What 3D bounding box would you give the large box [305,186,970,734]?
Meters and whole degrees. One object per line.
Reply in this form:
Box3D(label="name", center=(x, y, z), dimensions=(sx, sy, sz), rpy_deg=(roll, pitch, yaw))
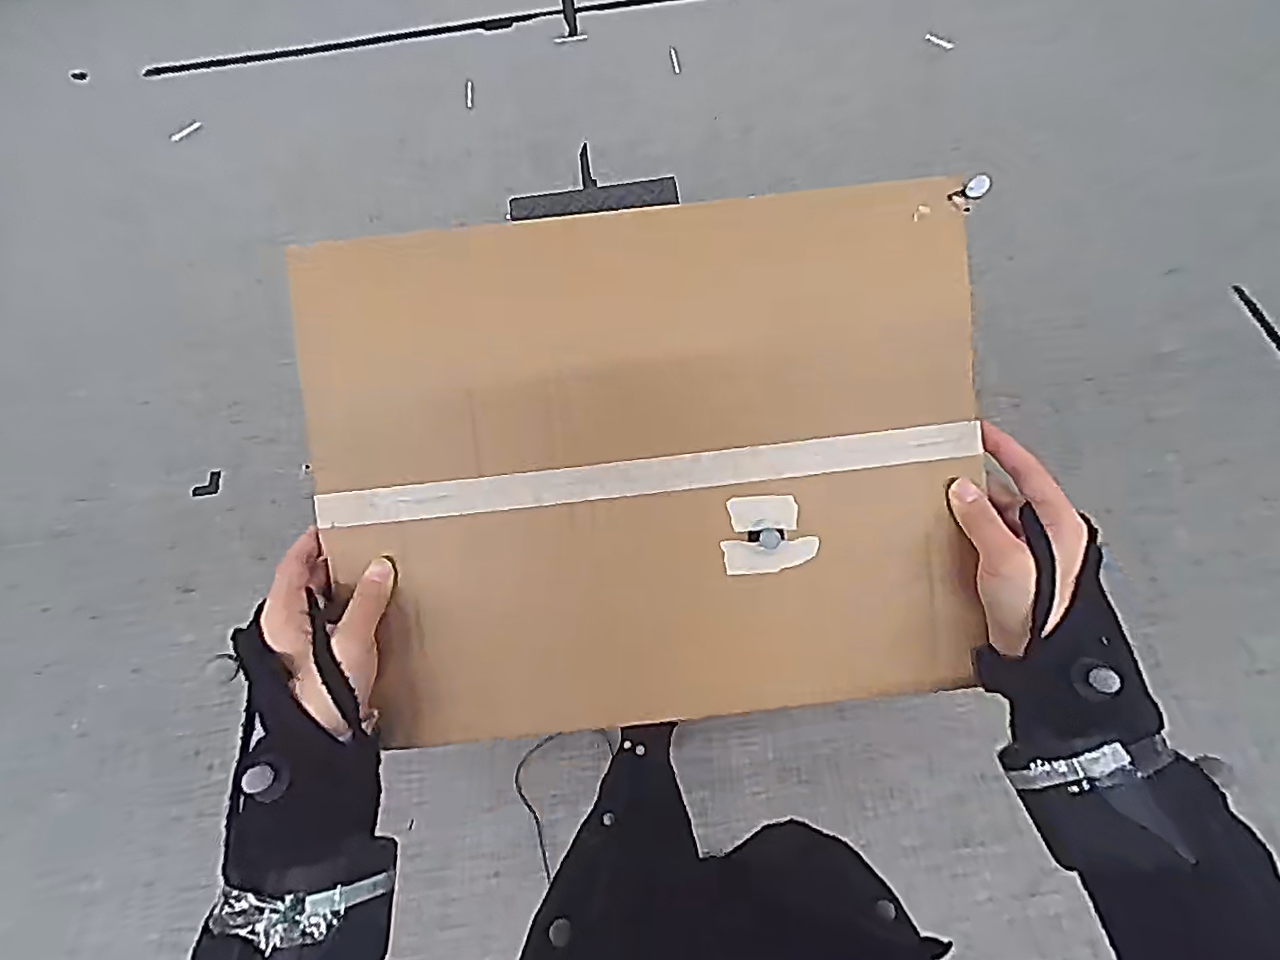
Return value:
Box3D(label="large box", center=(0.000, -0.017, 0.495), dimensions=(0.408, 0.320, 0.320), rpy_deg=(-7, 94, 0))
